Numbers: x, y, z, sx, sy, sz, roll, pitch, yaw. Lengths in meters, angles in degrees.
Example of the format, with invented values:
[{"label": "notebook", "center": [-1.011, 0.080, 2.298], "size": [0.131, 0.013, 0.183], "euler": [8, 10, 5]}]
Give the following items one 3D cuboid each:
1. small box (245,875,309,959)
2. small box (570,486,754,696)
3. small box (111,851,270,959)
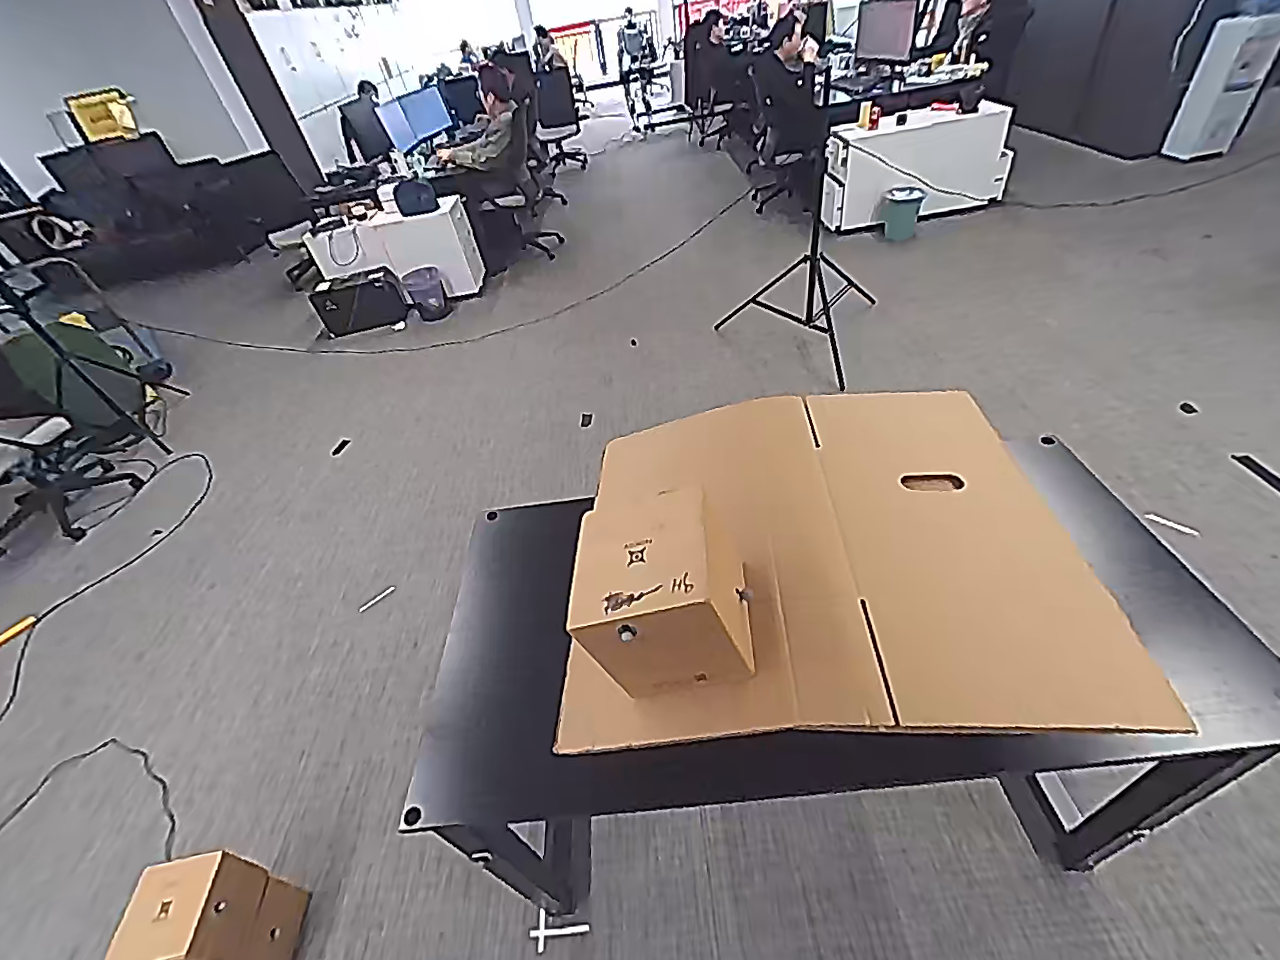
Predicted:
[{"label": "small box", "center": [-0.890, 1.032, 1.224], "size": [0.168, 0.176, 0.179], "euler": [-11, 42, 1]}, {"label": "small box", "center": [0.035, 0.140, 0.673], "size": [0.168, 0.176, 0.179], "euler": [-17, 39, 18]}, {"label": "small box", "center": [-0.917, 0.909, 1.121], "size": [0.168, 0.176, 0.179], "euler": [-12, 40, -2]}]
